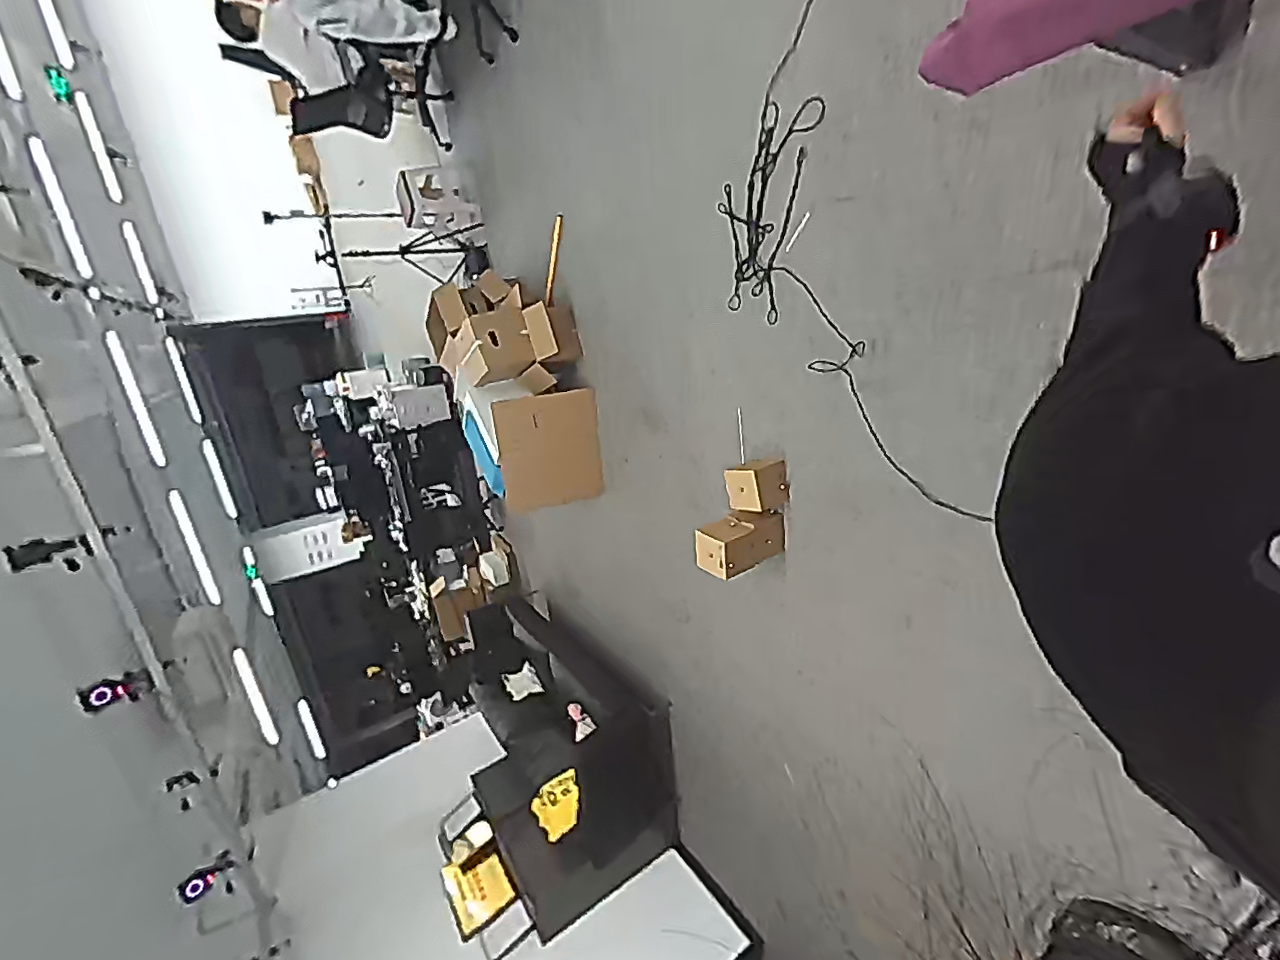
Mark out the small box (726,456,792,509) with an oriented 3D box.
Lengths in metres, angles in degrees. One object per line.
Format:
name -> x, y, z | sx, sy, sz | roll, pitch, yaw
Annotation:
small box -> 0.473, 0.005, 2.145 | 0.179, 0.176, 0.168 | 4, 110, 57

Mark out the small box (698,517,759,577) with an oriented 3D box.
small box -> 0.355, 0.259, 2.150 | 0.179, 0.176, 0.168 | 22, 125, 54

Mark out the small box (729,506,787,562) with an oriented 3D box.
small box -> 0.488, 0.208, 2.230 | 0.168, 0.176, 0.179 | 20, 124, 54
